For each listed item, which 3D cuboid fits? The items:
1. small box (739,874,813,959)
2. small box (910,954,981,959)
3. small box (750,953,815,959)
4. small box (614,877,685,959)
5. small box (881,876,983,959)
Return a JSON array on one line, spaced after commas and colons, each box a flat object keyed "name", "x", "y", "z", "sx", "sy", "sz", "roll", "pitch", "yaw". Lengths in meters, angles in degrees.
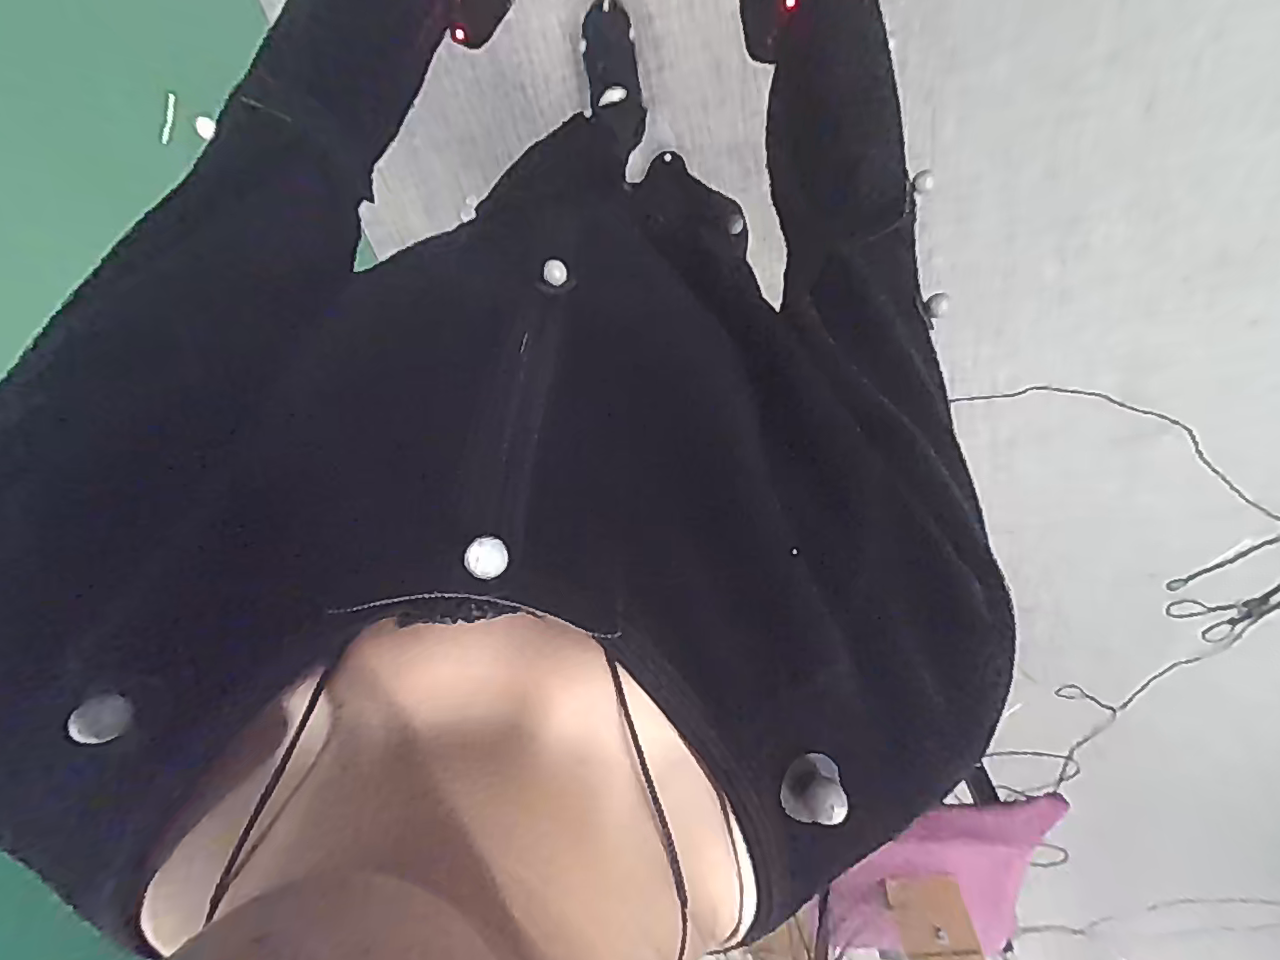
[{"name": "small box", "x": 0.350, "y": 1.157, "z": 1.401, "sx": 0.168, "sy": 0.176, "sz": 0.179, "roll": -7, "pitch": 120, "yaw": 9}, {"name": "small box", "x": 0.702, "y": 1.193, "z": 1.203, "sx": 0.179, "sy": 0.176, "sz": 0.168, "roll": -15, "pitch": 118, "yaw": 13}, {"name": "small box", "x": 0.348, "y": 1.239, "z": 1.259, "sx": 0.179, "sy": 0.176, "sz": 0.168, "roll": 2, "pitch": 122, "yaw": 4}, {"name": "small box", "x": 0.031, "y": 1.200, "z": 1.455, "sx": 0.168, "sy": 0.176, "sz": 0.179, "roll": -6, "pitch": 121, "yaw": 8}, {"name": "small box", "x": 0.720, "y": 1.112, "z": 1.342, "sx": 0.179, "sy": 0.176, "sz": 0.168, "roll": -13, "pitch": 119, "yaw": 13}]
